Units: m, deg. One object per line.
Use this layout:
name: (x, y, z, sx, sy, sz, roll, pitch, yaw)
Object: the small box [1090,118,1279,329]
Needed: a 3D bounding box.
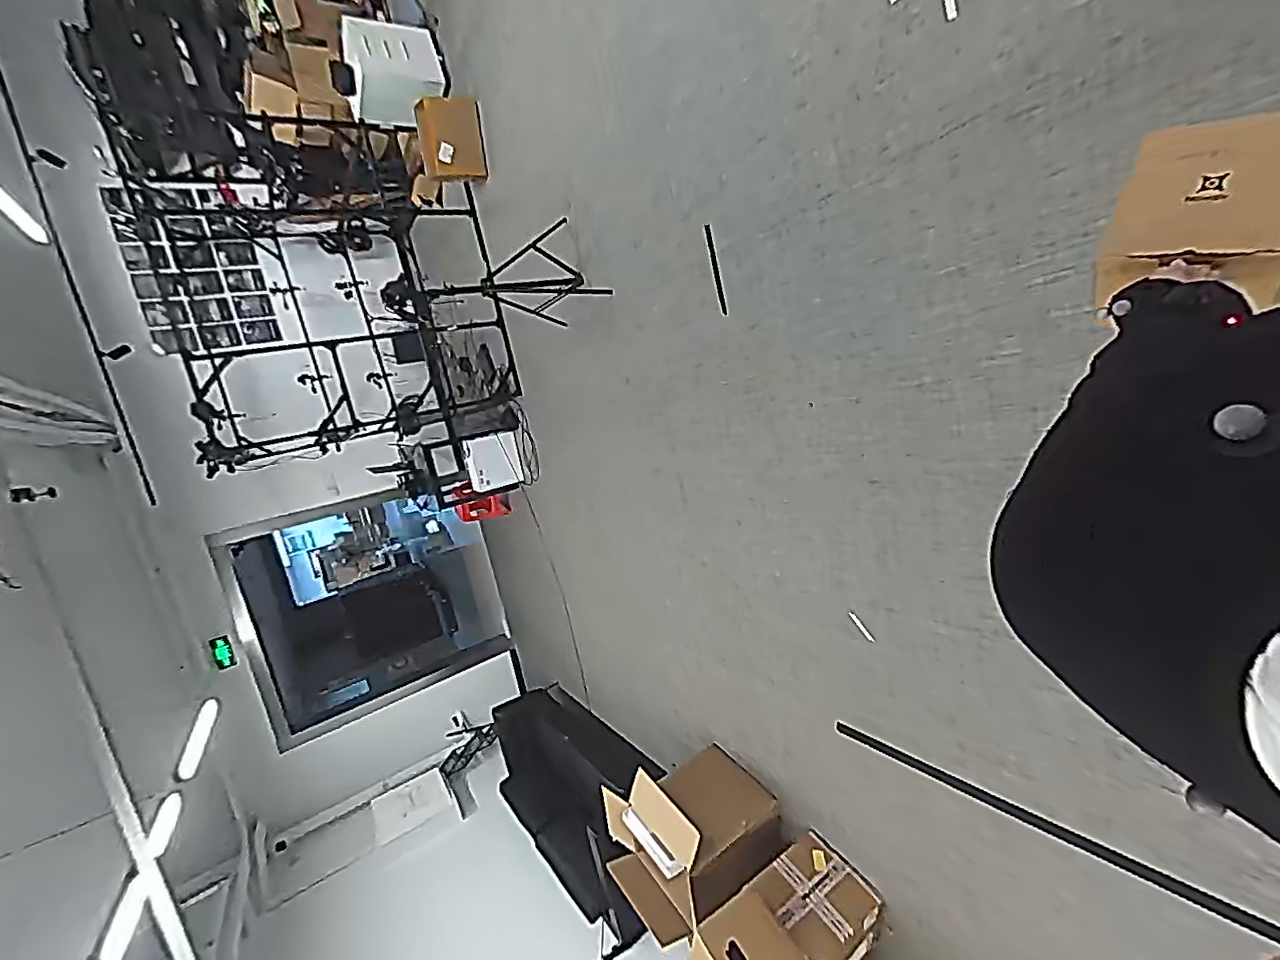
small box: (0.700, -0.309, 0.682, 0.168, 0.176, 0.179, 20, 86, 42)
